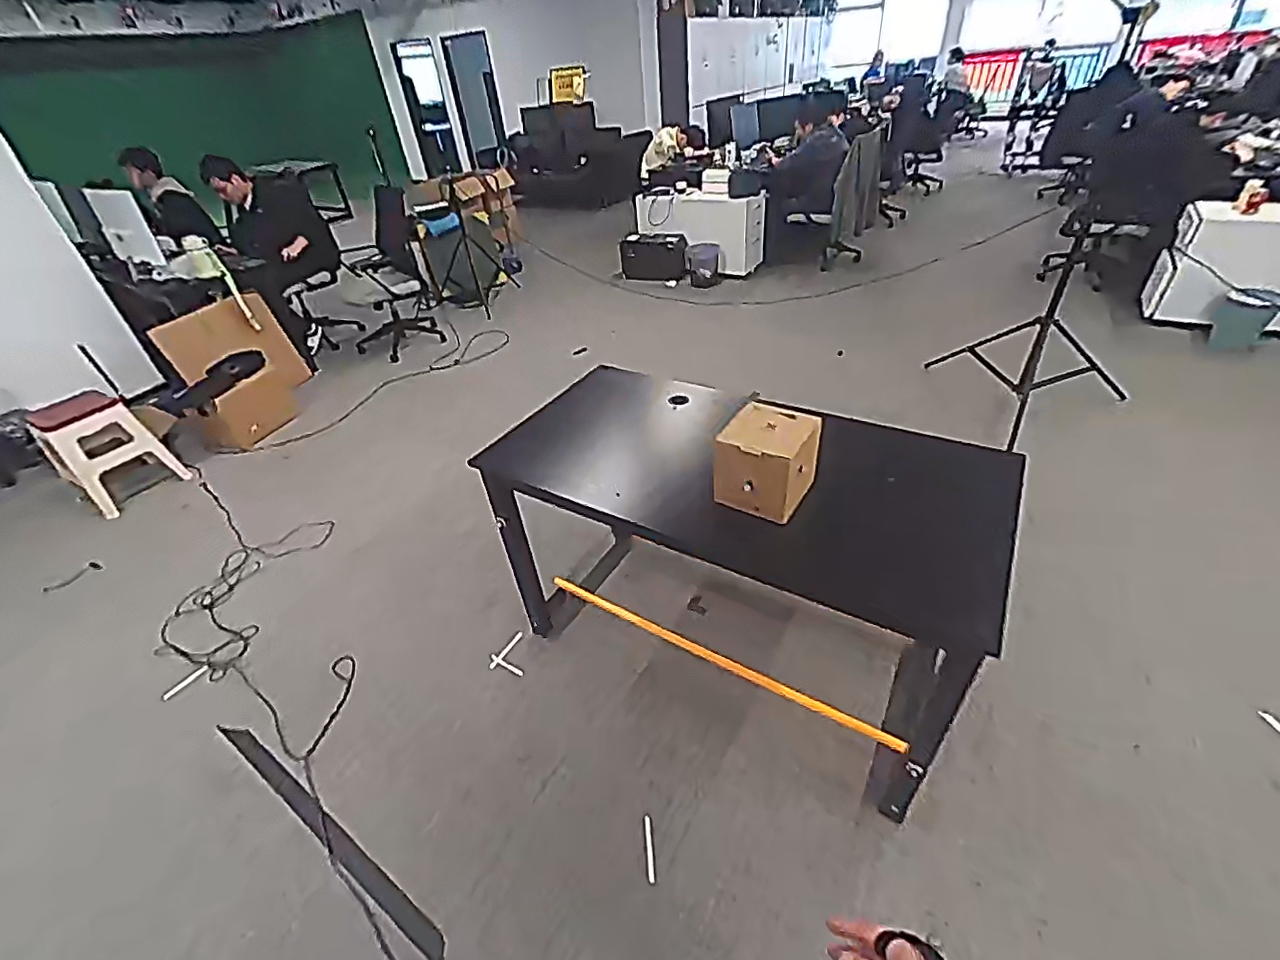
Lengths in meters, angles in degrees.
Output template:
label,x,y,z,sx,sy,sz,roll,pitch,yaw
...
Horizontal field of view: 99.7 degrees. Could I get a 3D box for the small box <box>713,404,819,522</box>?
label,x,y,z,sx,sy,sz,roll,pitch,yaw
small box,0.273,-0.036,1.168,0.168,0.176,0.179,19,44,29
